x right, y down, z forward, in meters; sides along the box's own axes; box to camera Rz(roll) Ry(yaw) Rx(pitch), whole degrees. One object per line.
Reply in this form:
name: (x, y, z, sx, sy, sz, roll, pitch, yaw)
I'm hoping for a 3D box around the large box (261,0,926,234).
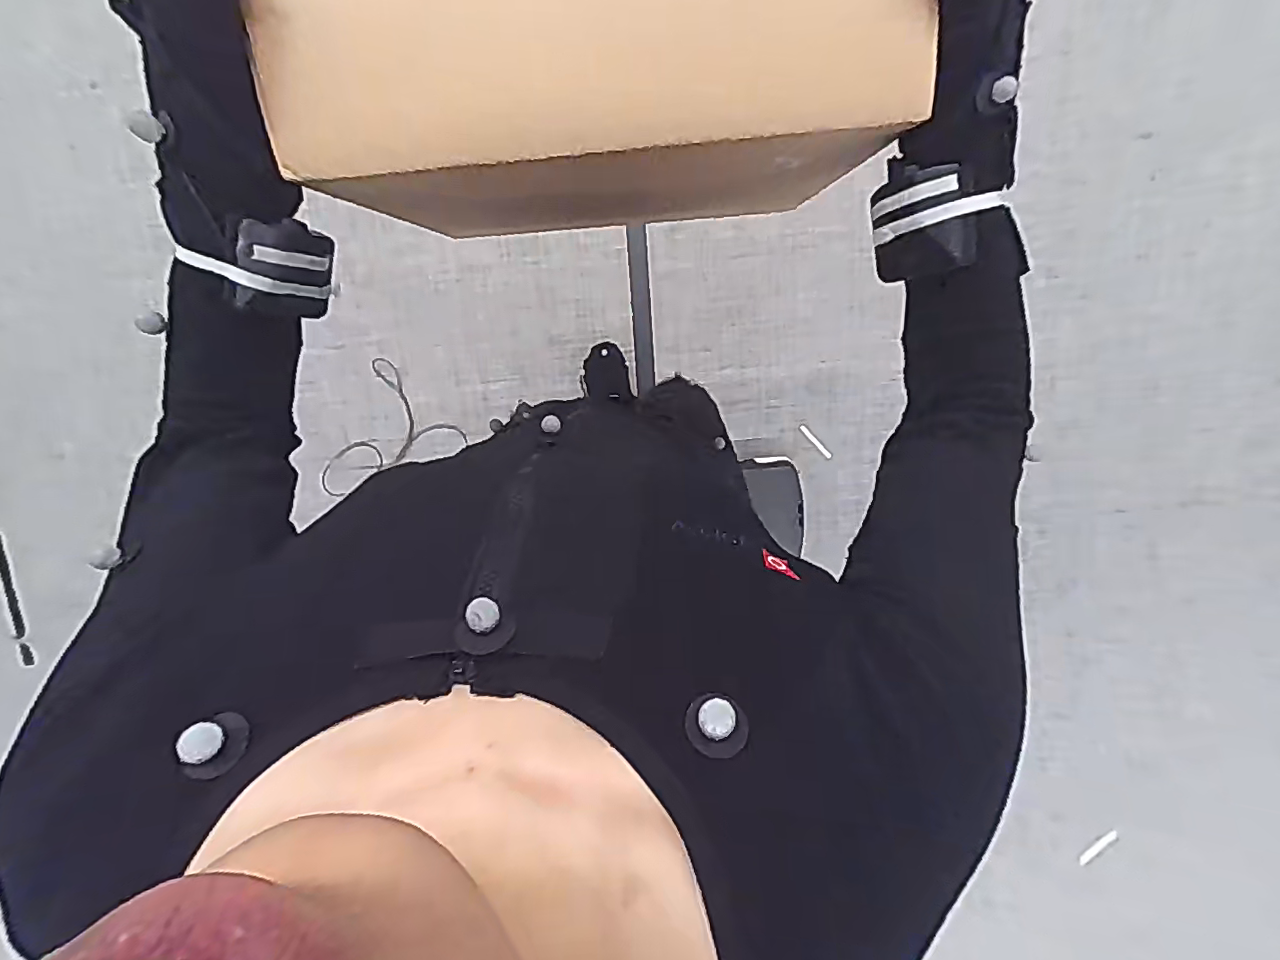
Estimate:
large box: (-0.037, -0.409, 0.442, 0.408, 0.320, 0.320, -5, 108, 2)
